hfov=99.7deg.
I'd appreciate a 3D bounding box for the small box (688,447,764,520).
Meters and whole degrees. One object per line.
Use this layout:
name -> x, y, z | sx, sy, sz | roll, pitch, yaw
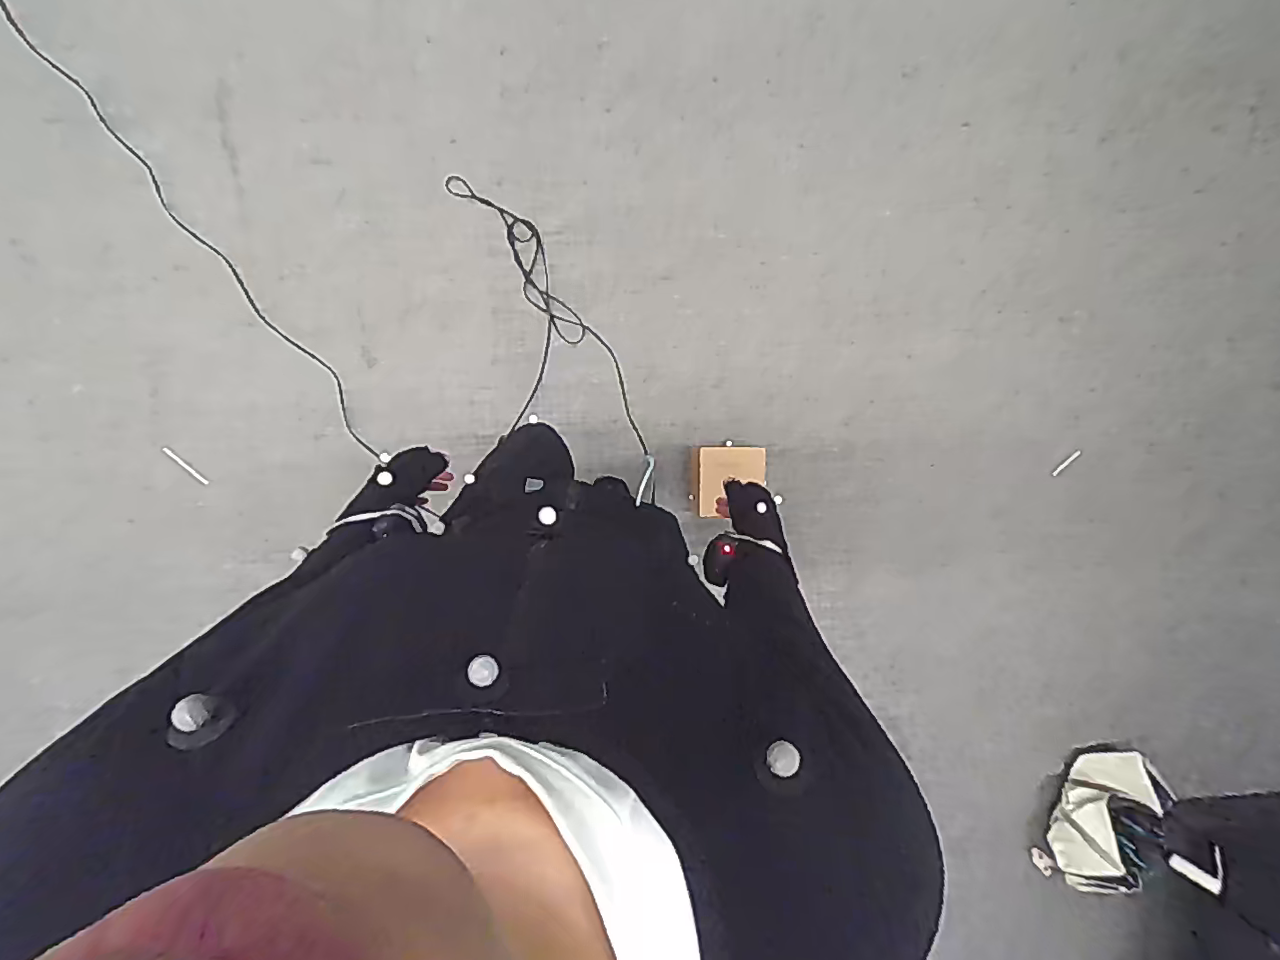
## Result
small box -> 0.220, 0.004, 1.419 | 0.168, 0.176, 0.179 | 1, 94, -4
